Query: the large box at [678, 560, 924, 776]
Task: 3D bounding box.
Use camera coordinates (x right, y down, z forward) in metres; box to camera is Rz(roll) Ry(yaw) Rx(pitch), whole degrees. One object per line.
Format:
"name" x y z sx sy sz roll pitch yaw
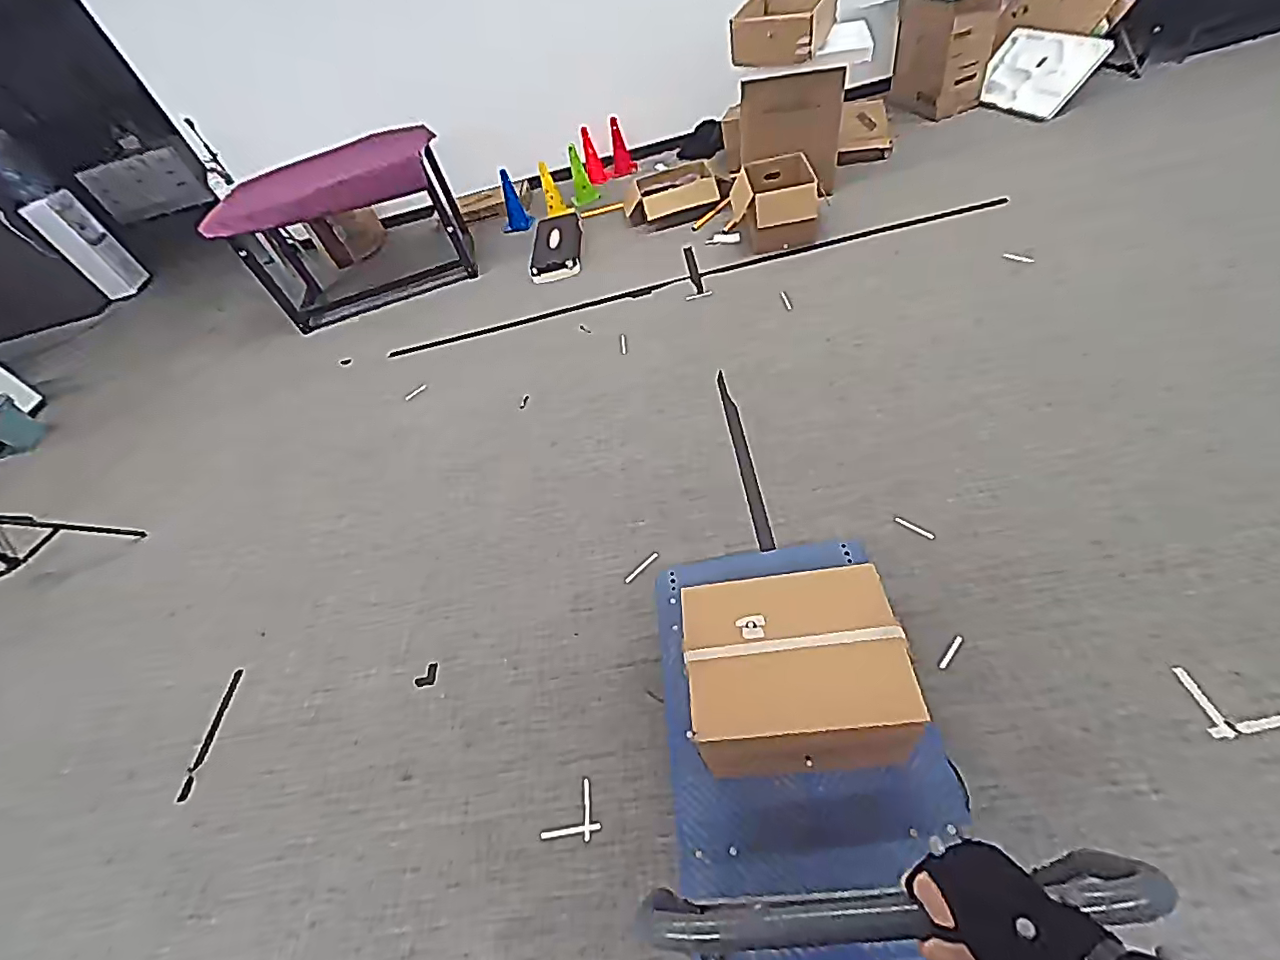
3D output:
"large box" 0.314 0.405 1.137 0.408 0.320 0.320 -10 47 9
